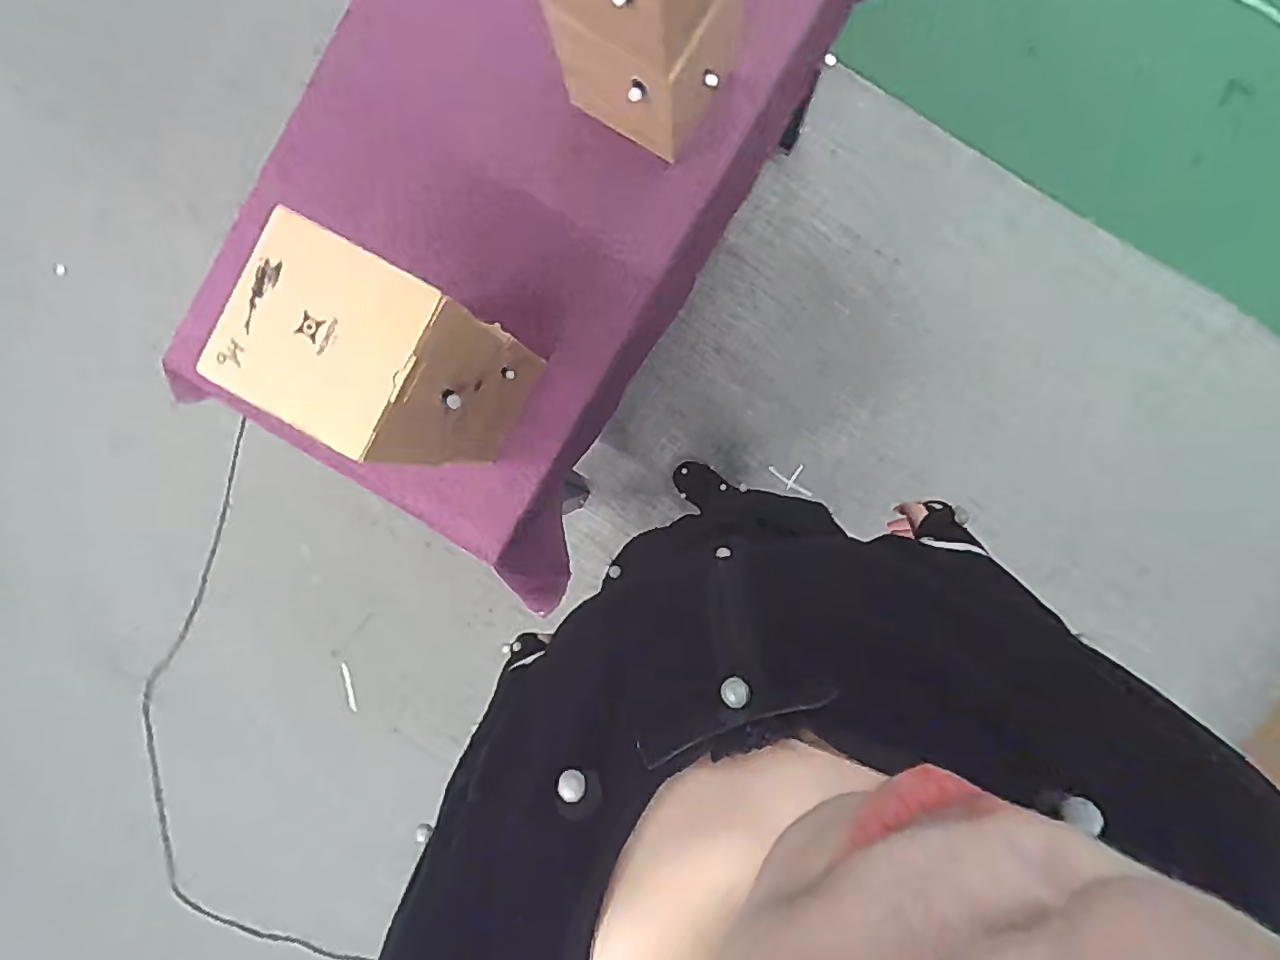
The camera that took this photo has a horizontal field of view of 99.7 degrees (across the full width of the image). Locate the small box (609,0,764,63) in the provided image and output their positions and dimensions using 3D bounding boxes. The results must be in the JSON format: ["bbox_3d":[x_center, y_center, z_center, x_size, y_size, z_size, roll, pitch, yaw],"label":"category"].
[{"bbox_3d":[0.054,-0.556,0.516,0.179,0.176,0.168,41,93,3],"label":"small box"}]
